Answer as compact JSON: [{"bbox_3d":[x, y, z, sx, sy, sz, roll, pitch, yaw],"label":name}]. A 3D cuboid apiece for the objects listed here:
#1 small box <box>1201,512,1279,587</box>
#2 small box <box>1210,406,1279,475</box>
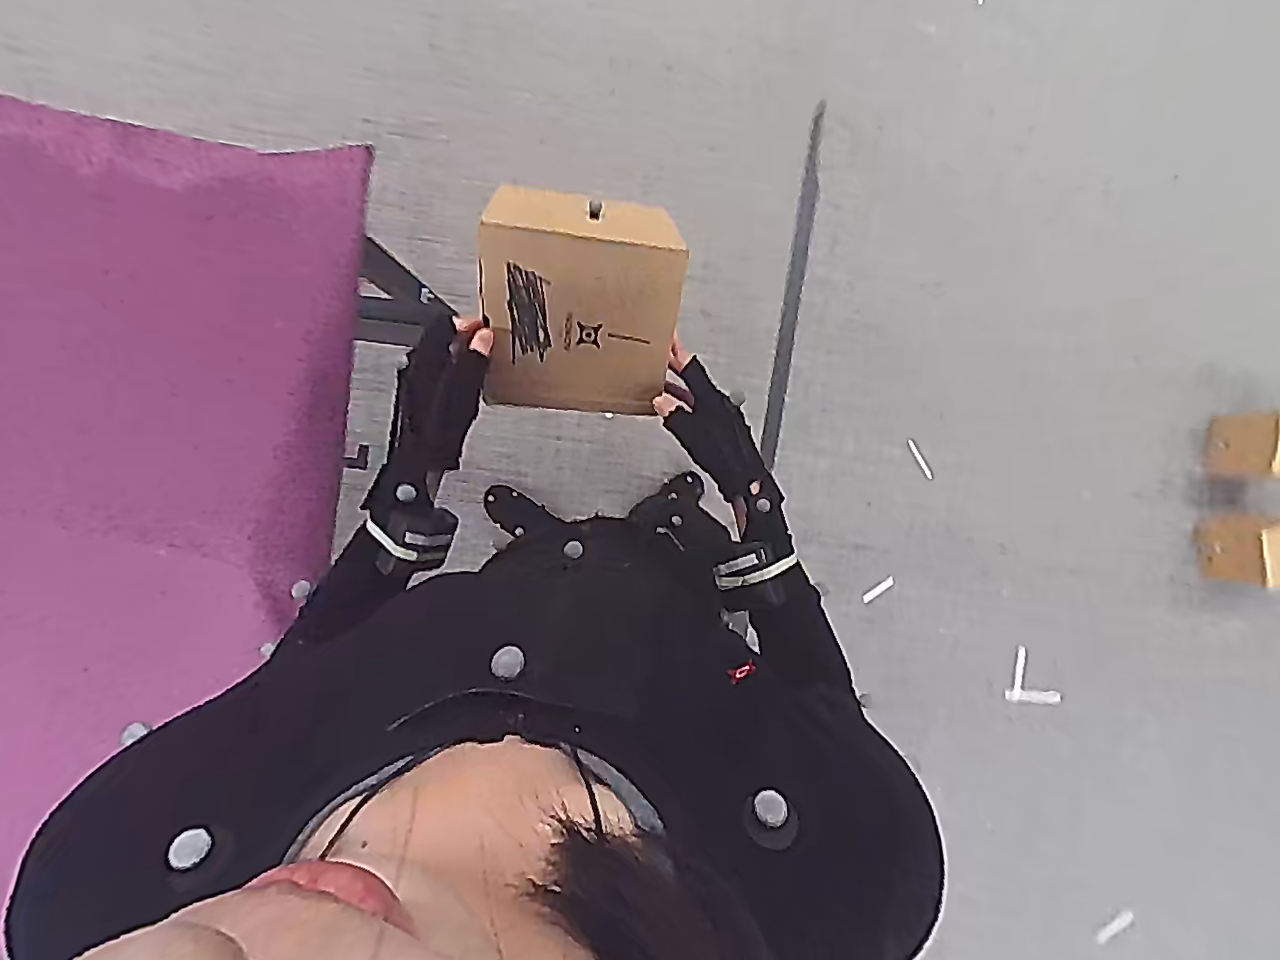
[{"bbox_3d":[1.767,0.191,1.531,0.179,0.176,0.168,-11,92,-1],"label":"small box"},{"bbox_3d":[1.774,-0.106,1.519,0.168,0.176,0.179,6,92,-3],"label":"small box"}]
